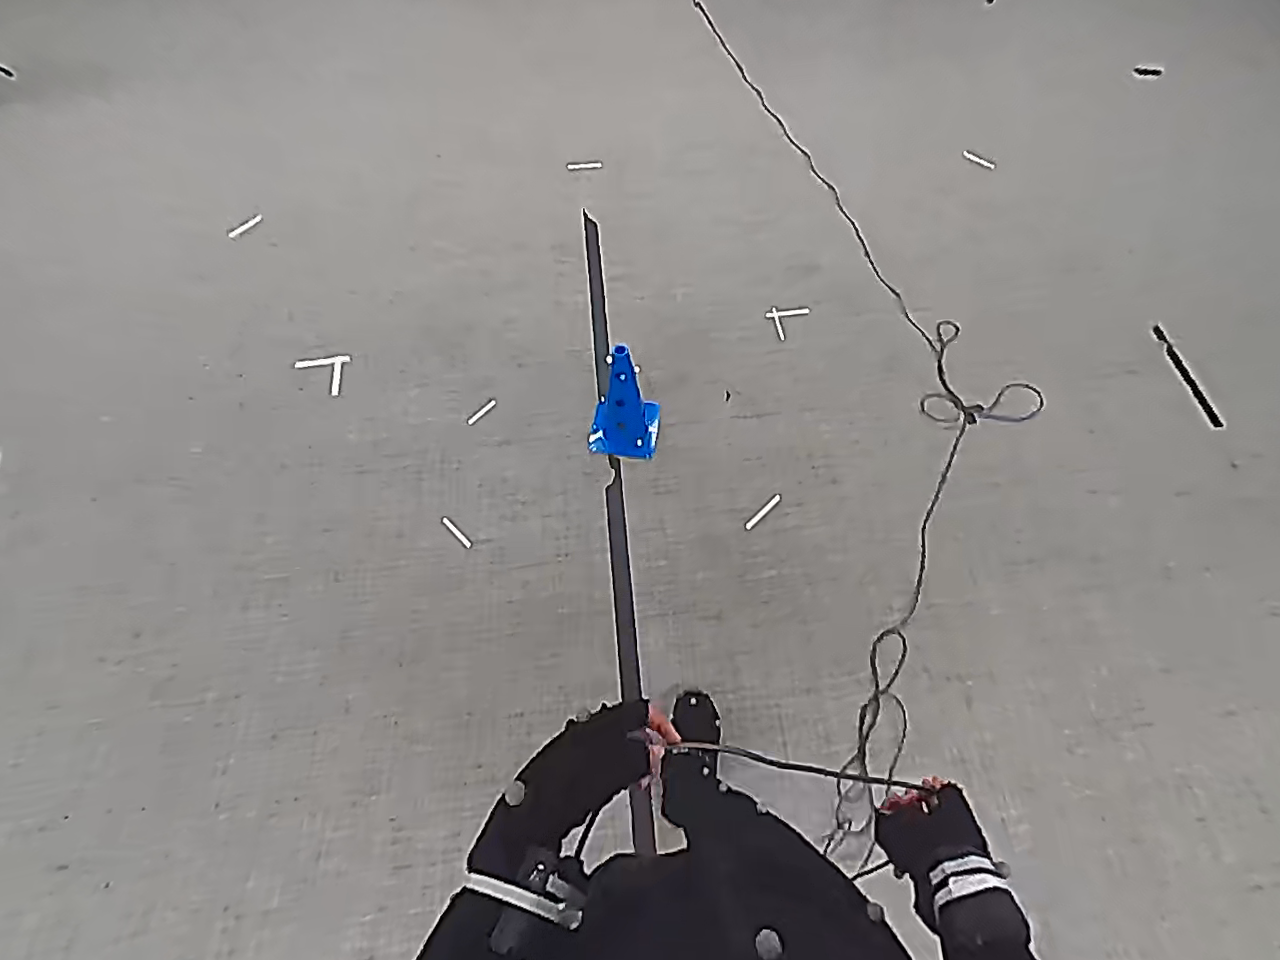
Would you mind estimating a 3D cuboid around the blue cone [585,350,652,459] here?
[{"bbox_3d":[-0.068,-0.225,1.505,0.192,0.380,0.193,8,63,6],"label":"blue cone"}]
